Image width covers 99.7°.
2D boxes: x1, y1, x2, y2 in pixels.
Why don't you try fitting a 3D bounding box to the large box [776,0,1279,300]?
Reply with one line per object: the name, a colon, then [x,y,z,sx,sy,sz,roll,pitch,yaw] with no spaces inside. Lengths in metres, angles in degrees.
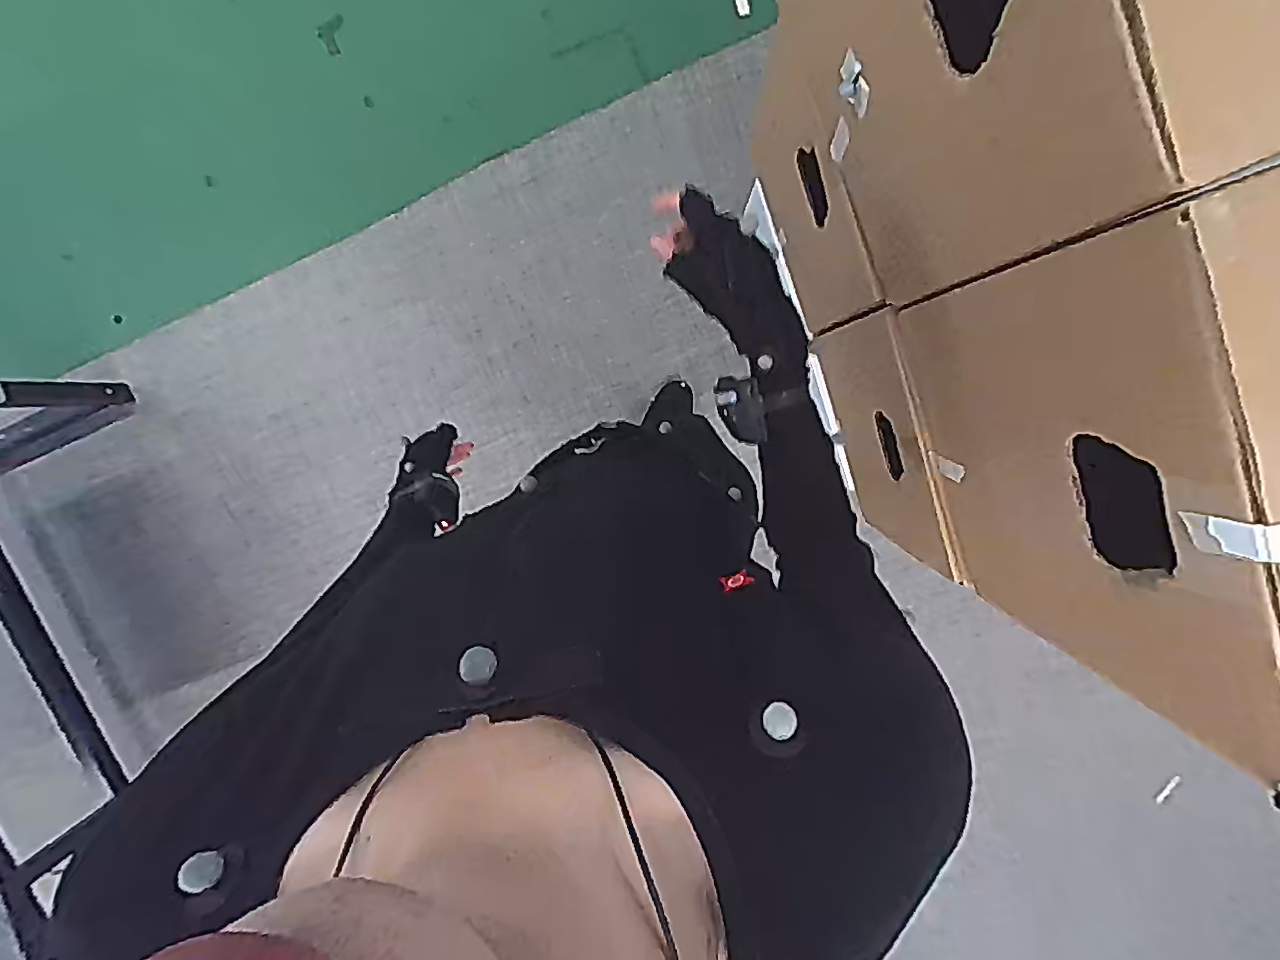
large box: [0.354,-0.368,0.345,0.408,0.320,0.320,-23,96,6]
